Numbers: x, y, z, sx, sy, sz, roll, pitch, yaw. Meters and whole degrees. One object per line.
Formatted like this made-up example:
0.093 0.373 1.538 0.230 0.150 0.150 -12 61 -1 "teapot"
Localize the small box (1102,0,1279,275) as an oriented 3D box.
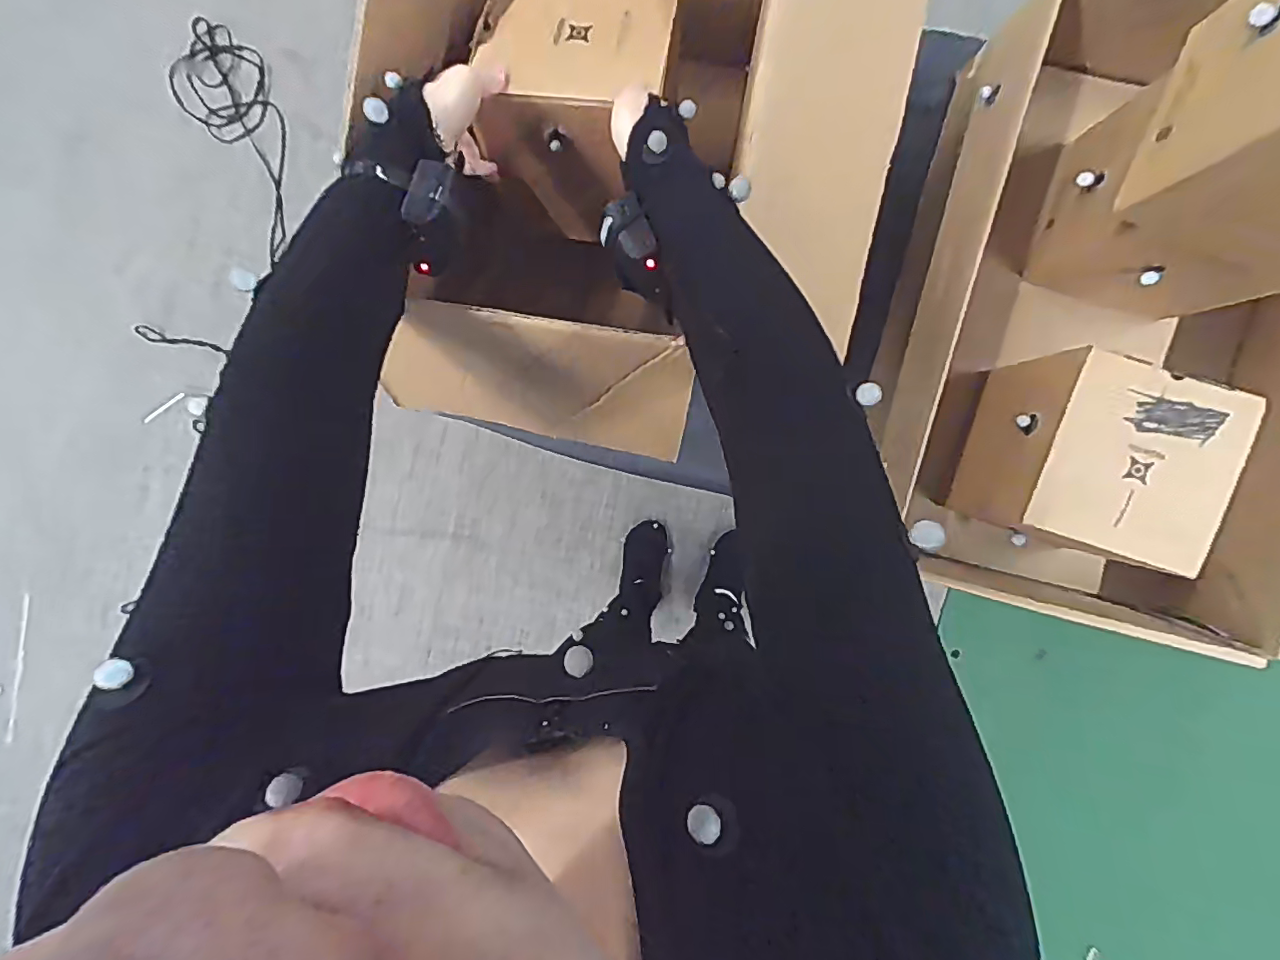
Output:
0.517 -0.277 0.407 0.179 0.176 0.168 21 96 0 "small box"
